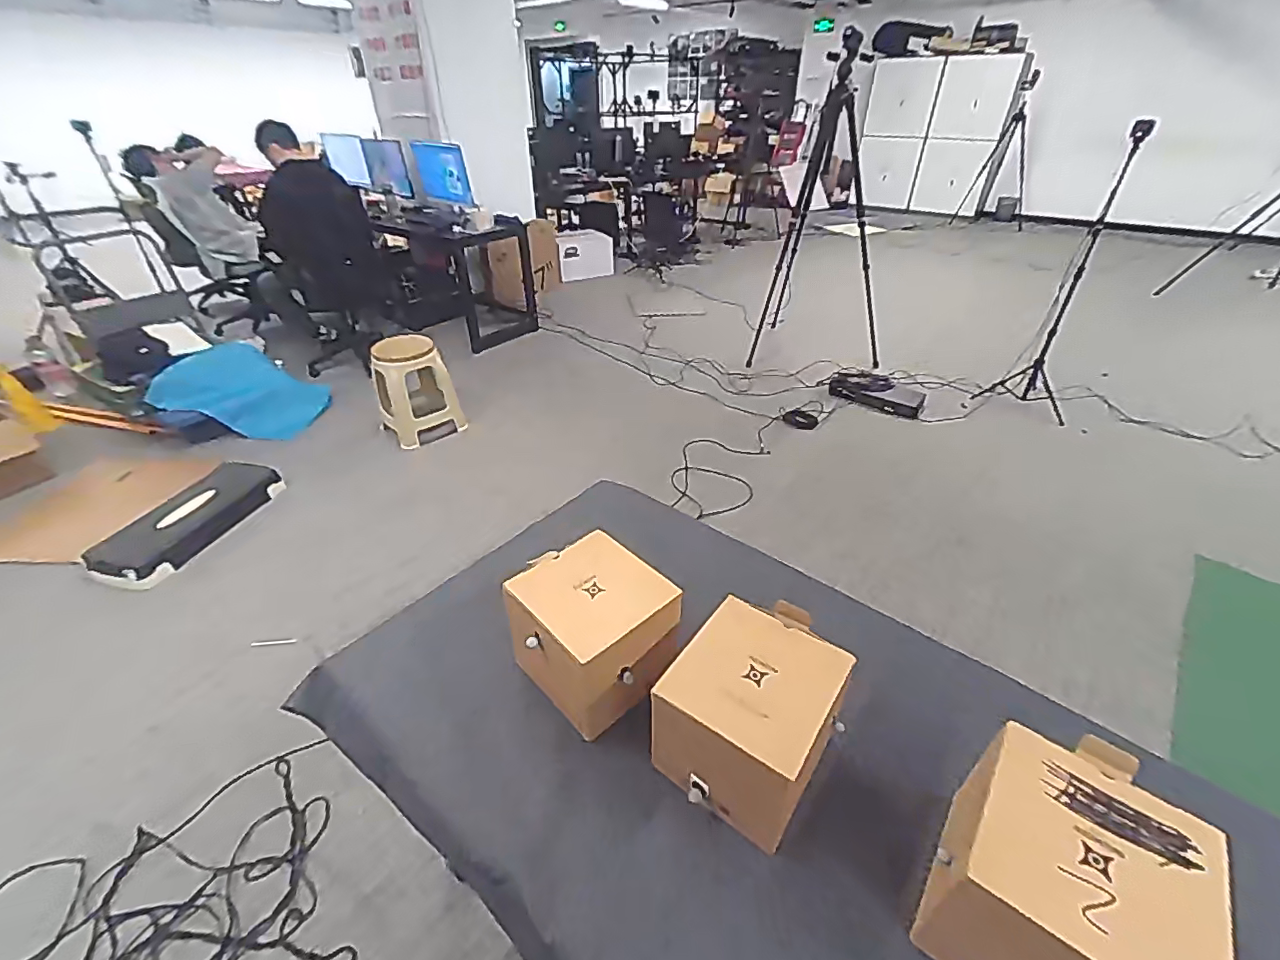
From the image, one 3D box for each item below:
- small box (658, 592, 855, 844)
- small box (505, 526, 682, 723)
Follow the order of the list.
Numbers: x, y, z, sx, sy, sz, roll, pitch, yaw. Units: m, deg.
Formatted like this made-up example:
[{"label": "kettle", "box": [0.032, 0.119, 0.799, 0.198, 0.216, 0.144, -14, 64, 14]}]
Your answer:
[{"label": "small box", "box": [0.131, 0.274, 0.642, 0.168, 0.176, 0.179, 22, 41, 29]}, {"label": "small box", "box": [-0.061, 0.200, 0.746, 0.168, 0.176, 0.179, -28, 44, -34]}]
